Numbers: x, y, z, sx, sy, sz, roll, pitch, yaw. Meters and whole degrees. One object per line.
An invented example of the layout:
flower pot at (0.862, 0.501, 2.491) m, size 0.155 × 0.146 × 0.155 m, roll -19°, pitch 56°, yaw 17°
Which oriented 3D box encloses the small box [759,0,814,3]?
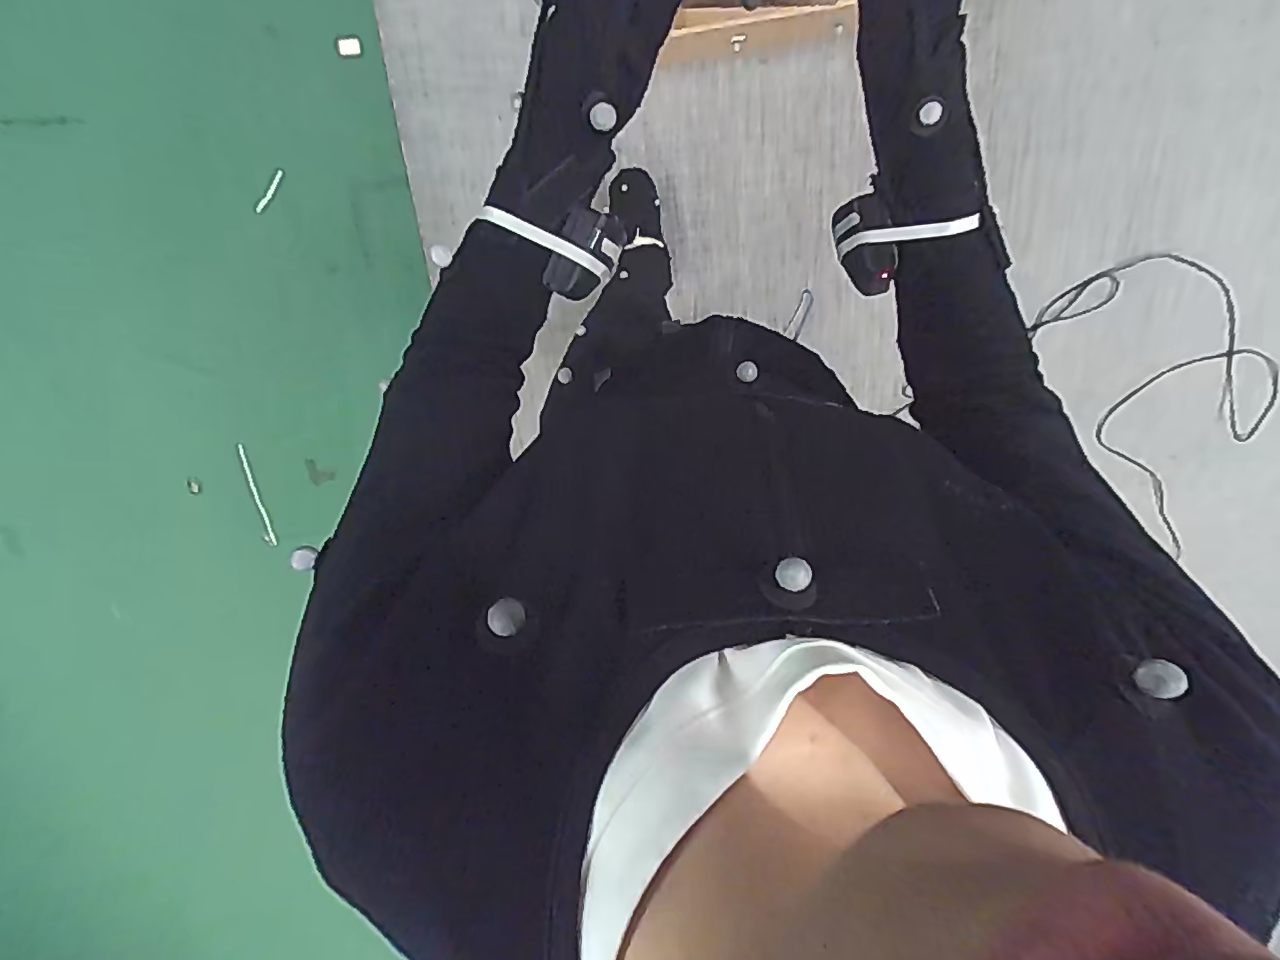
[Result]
small box at (0.085, -0.446, 0.342) m, size 0.168 × 0.176 × 0.179 m, roll -1°, pitch 115°, yaw -1°
